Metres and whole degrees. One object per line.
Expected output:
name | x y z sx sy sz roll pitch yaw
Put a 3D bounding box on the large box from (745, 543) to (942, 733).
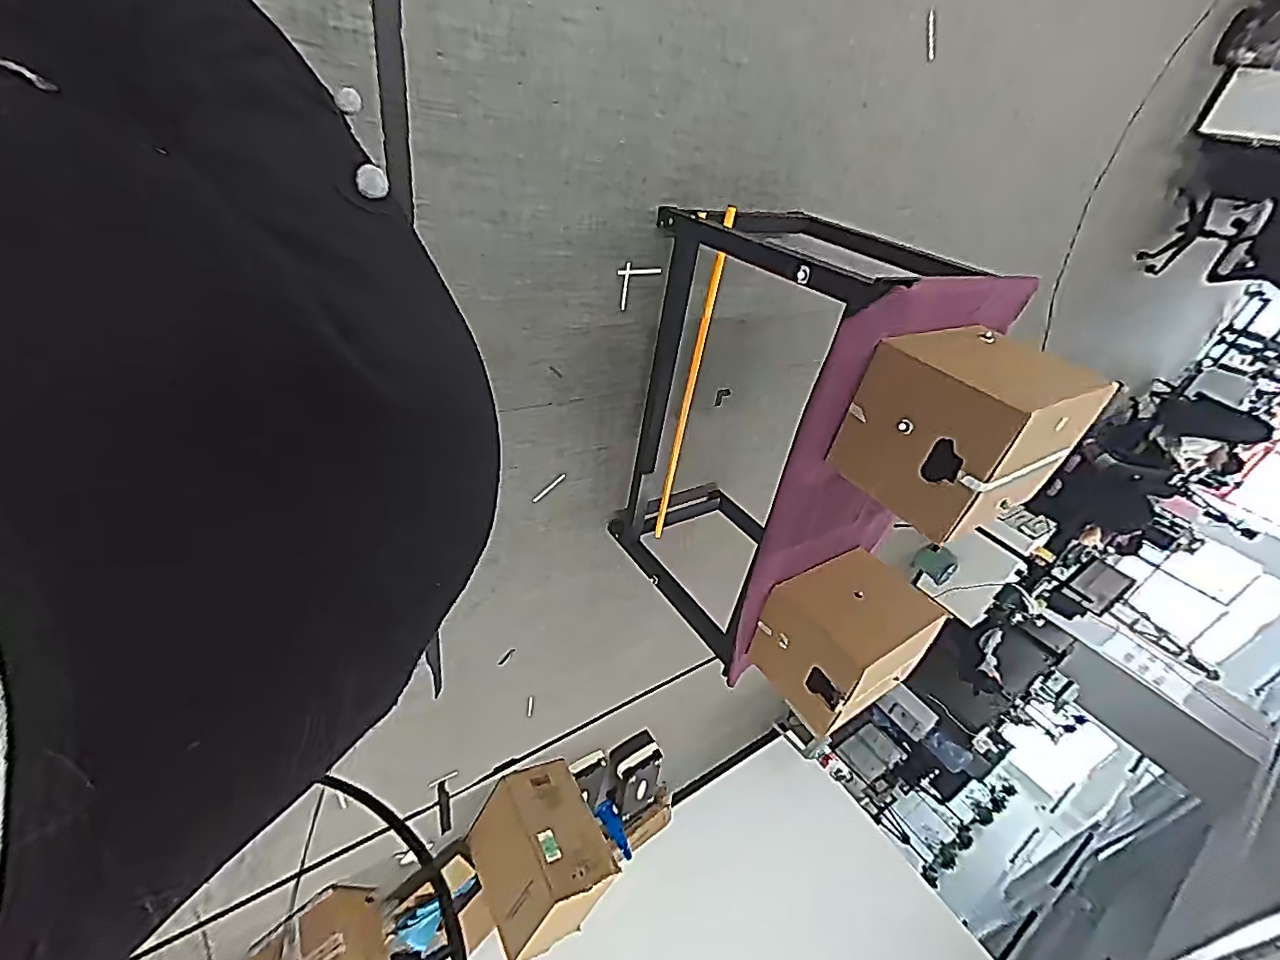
large box | 0.578 0.439 1.578 0.408 0.320 0.320 -16 133 -33
